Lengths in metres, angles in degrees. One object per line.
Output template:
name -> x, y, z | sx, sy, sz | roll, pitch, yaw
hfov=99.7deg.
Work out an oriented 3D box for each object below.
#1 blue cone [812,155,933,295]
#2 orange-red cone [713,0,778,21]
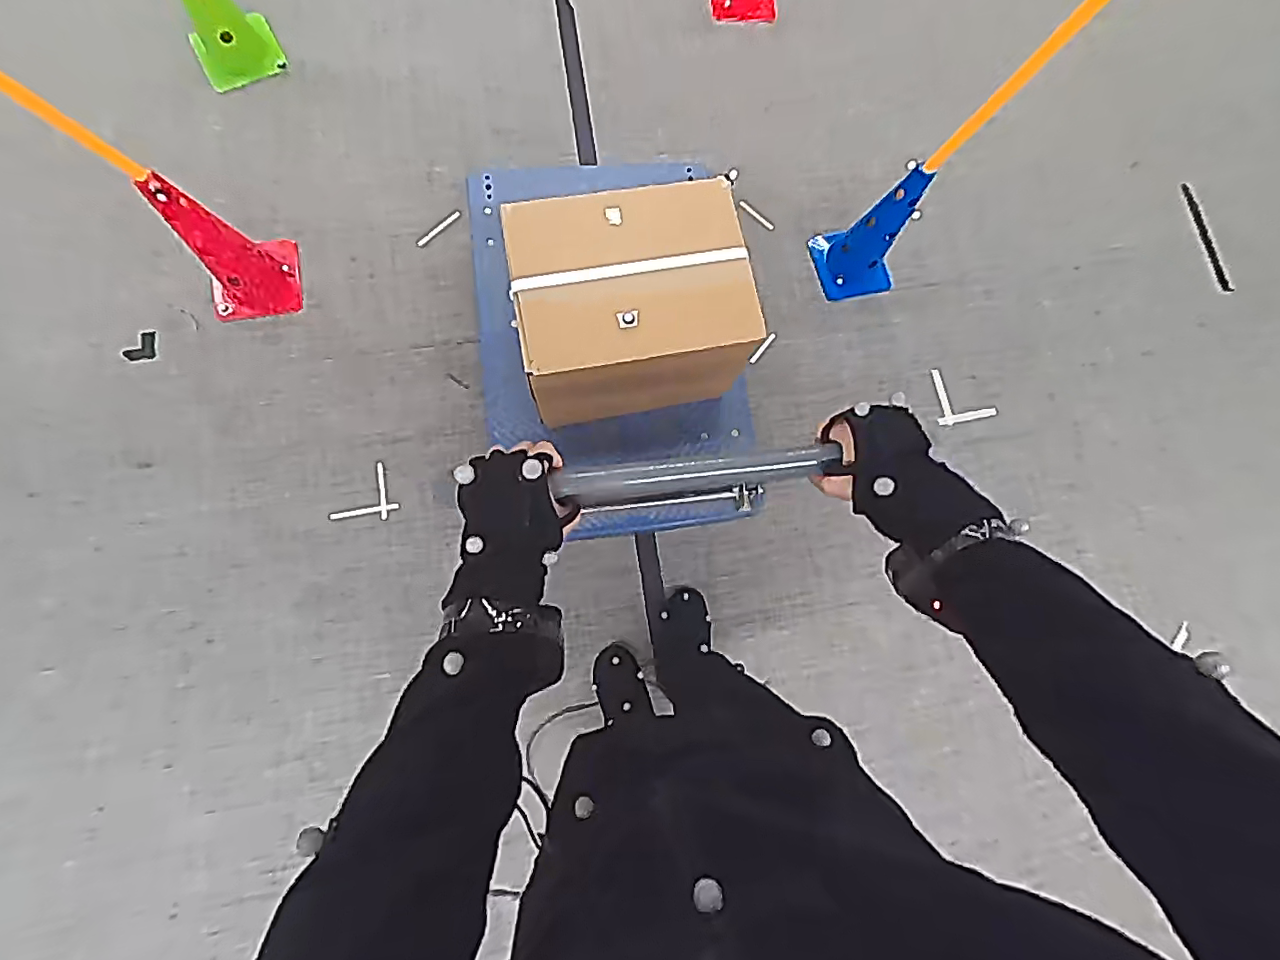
blue cone -> 0.602, -0.639, 1.343 | 0.193, 0.380, 0.192 | -12, 80, -8
orange-red cone -> 0.333, -1.502, 1.461 | 0.199, 0.360, 0.198 | -2, 80, -7
